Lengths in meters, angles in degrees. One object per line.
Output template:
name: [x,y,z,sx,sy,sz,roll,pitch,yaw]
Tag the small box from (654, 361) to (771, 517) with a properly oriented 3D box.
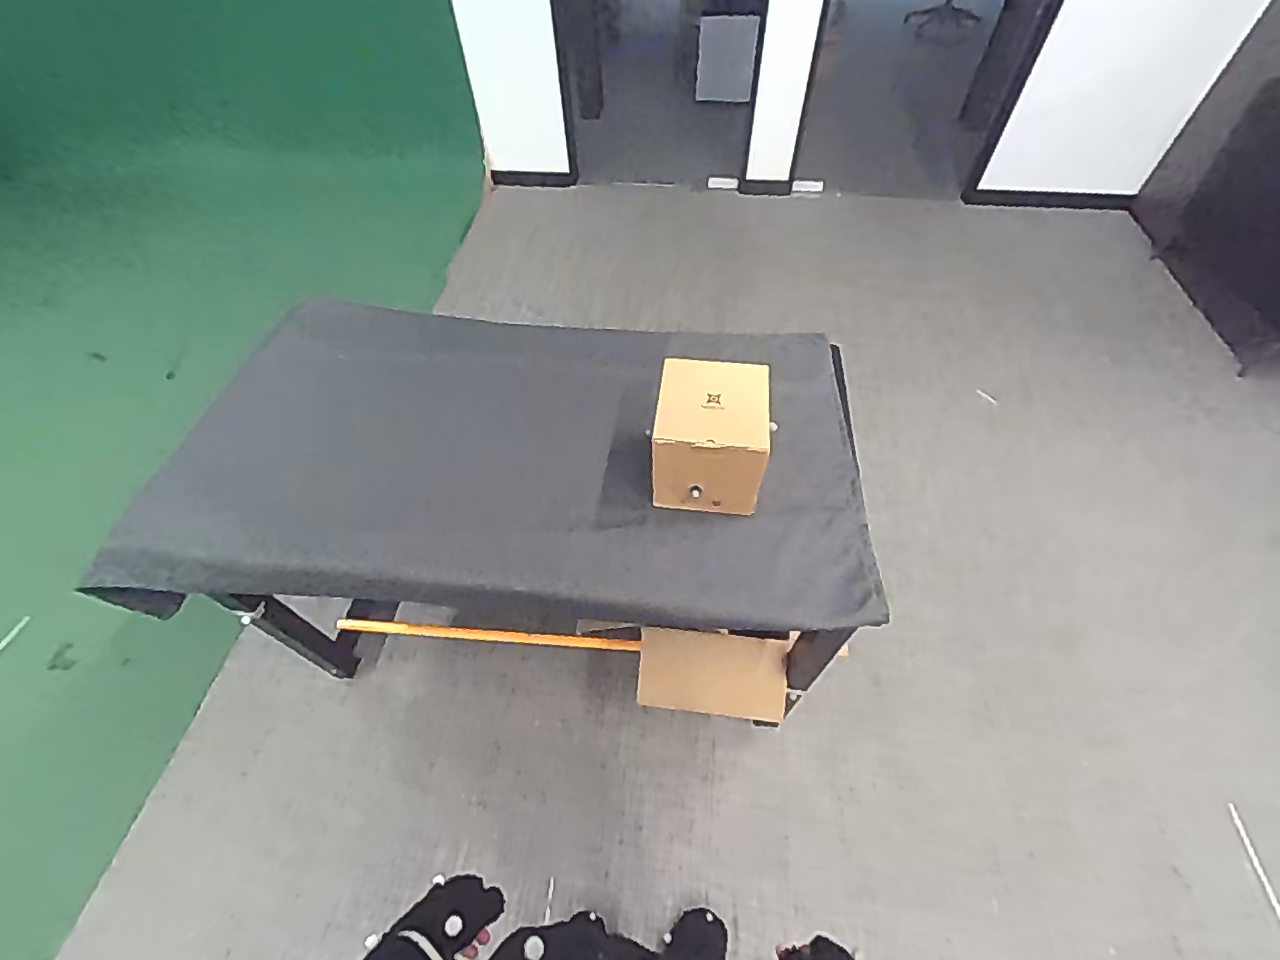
small box: [0.113,-0.065,0.866,0.168,0.176,0.179,5,54,5]
